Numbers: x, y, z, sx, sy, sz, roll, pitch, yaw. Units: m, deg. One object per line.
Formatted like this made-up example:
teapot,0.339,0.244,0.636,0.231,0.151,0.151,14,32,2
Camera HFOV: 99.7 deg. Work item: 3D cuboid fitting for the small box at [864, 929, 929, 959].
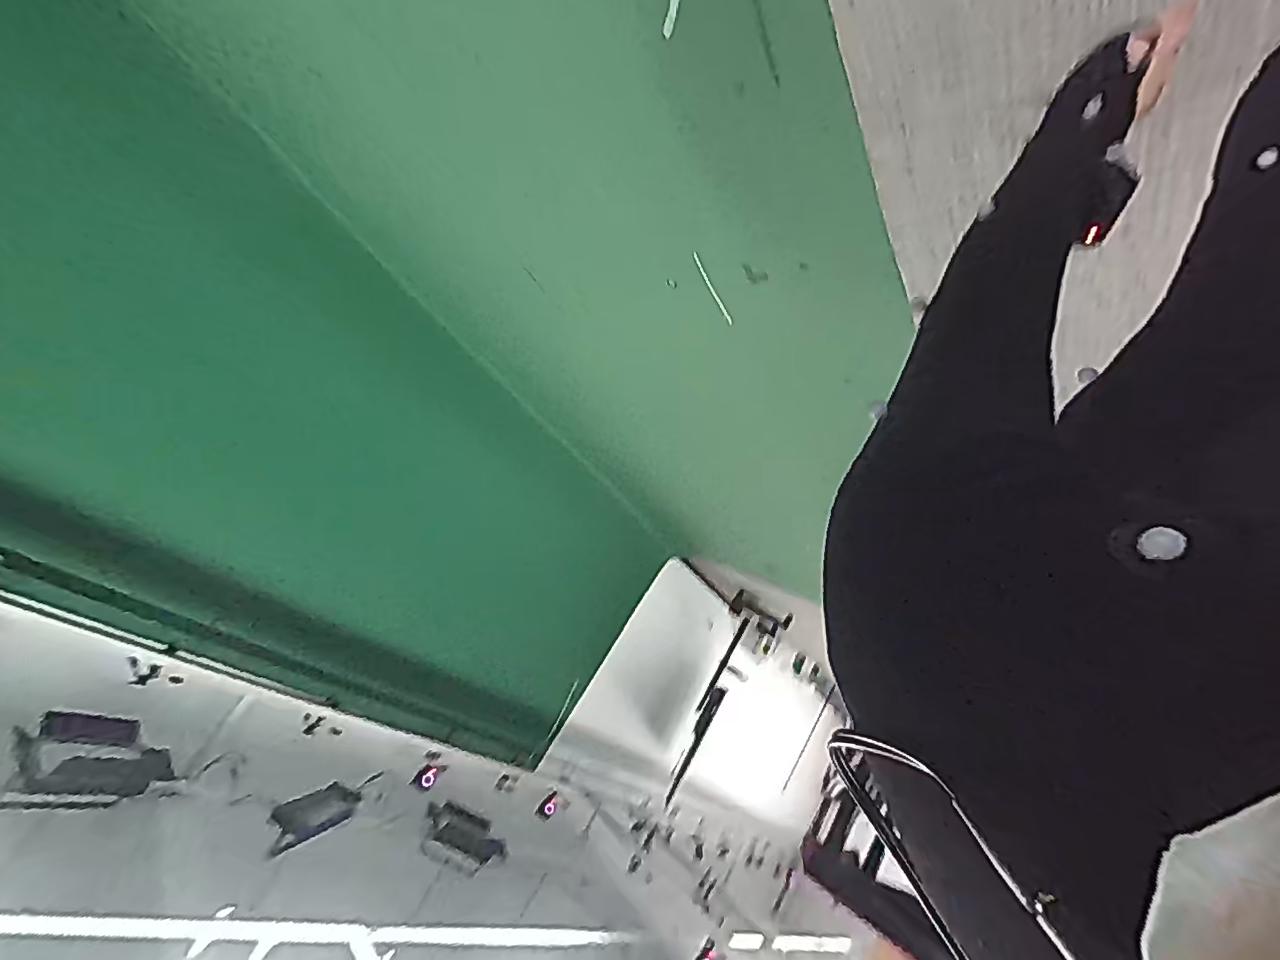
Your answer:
small box,0.817,1.558,1.700,0.179,0.176,0.168,17,159,48
